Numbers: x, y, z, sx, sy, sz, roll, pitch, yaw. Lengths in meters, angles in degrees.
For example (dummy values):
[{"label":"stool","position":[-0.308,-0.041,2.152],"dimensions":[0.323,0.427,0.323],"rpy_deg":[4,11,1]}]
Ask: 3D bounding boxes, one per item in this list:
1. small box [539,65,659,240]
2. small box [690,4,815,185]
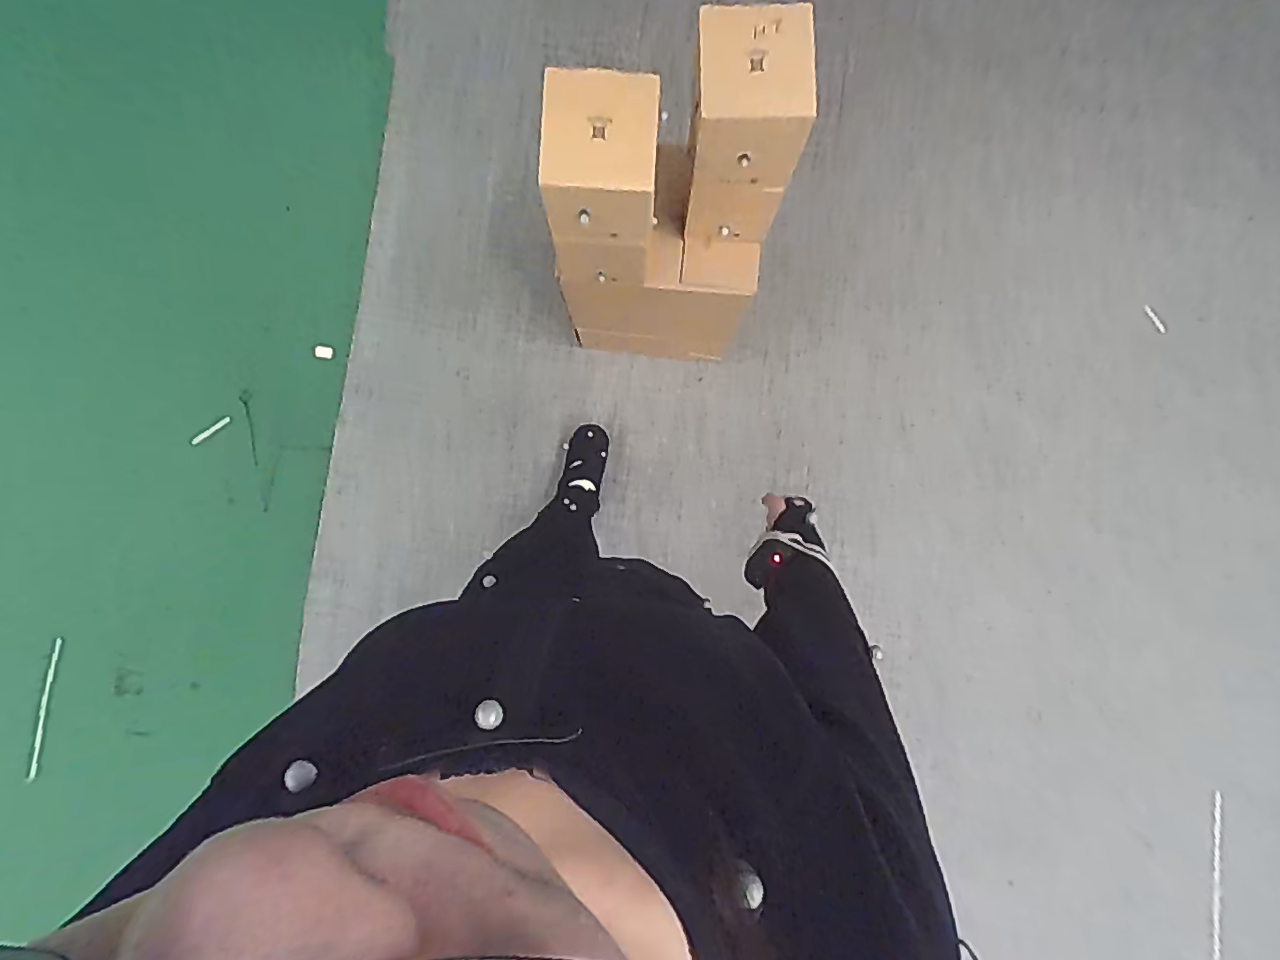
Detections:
[{"label":"small box","position":[-0.059,-0.499,0.849],"dimensions":[0.168,0.176,0.179],"rpy_deg":[3,88,-1]},{"label":"small box","position":[0.170,-0.596,0.856],"dimensions":[0.168,0.176,0.179],"rpy_deg":[1,86,0]}]
